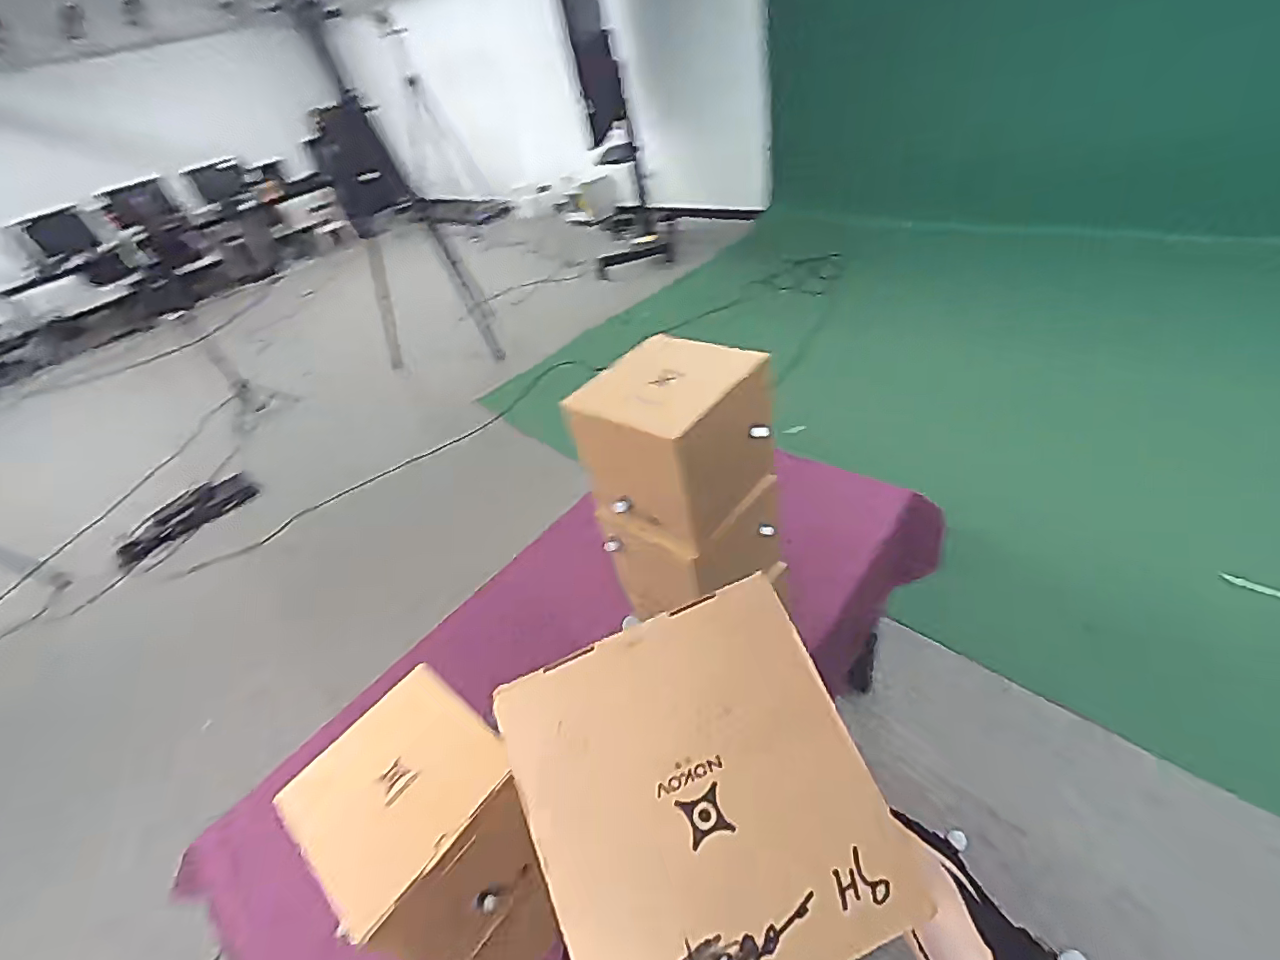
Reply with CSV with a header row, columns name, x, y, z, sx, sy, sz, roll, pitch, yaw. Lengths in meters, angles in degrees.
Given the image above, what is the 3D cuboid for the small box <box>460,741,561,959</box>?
name,x,y,z,sx,sy,sz,roll,pitch,yaw
small box,-0.172,0.453,0.649,0.168,0.176,0.179,21,52,36

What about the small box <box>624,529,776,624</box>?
name,x,y,z,sx,sy,sz,roll,pitch,yaw
small box,0.105,0.204,0.850,0.168,0.176,0.179,24,53,37

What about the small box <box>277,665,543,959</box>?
name,x,y,z,sx,sy,sz,roll,pitch,yaw
small box,-0.210,0.332,0.546,0.179,0.176,0.168,22,52,35

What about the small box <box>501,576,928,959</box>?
name,x,y,z,sx,sy,sz,roll,pitch,yaw
small box,0.032,0.185,0.347,0.168,0.176,0.179,-22,70,-4

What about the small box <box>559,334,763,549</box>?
name,x,y,z,sx,sy,sz,roll,pitch,yaw
small box,0.036,-0.051,0.655,0.168,0.176,0.179,22,52,37
